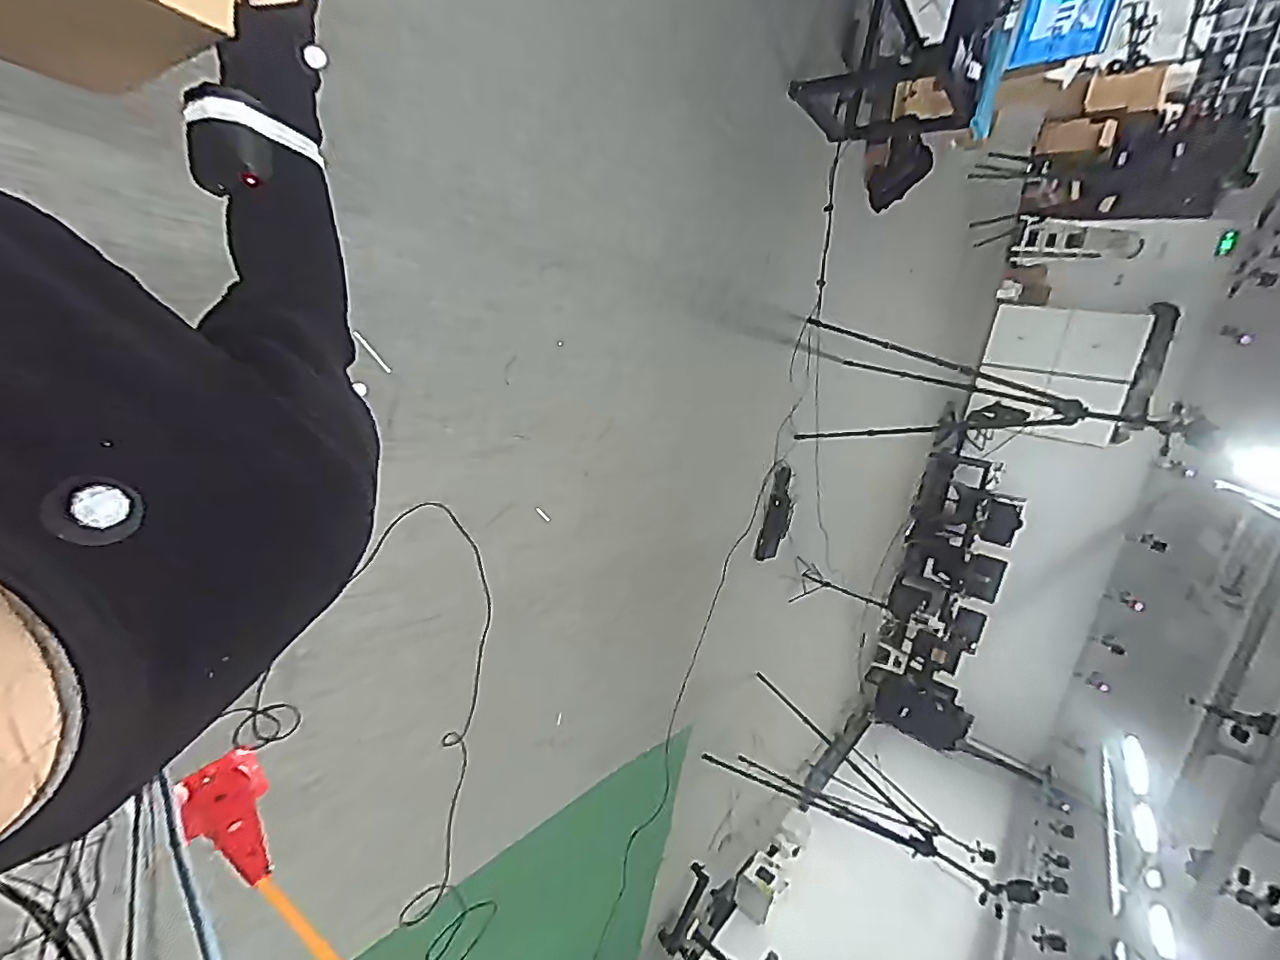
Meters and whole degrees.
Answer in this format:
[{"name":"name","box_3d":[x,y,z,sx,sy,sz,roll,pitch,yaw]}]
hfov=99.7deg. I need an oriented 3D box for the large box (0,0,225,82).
[{"name":"large box","box_3d":[-0.517,-0.486,0.283,0.408,0.320,0.320,-10,112,-53]}]
